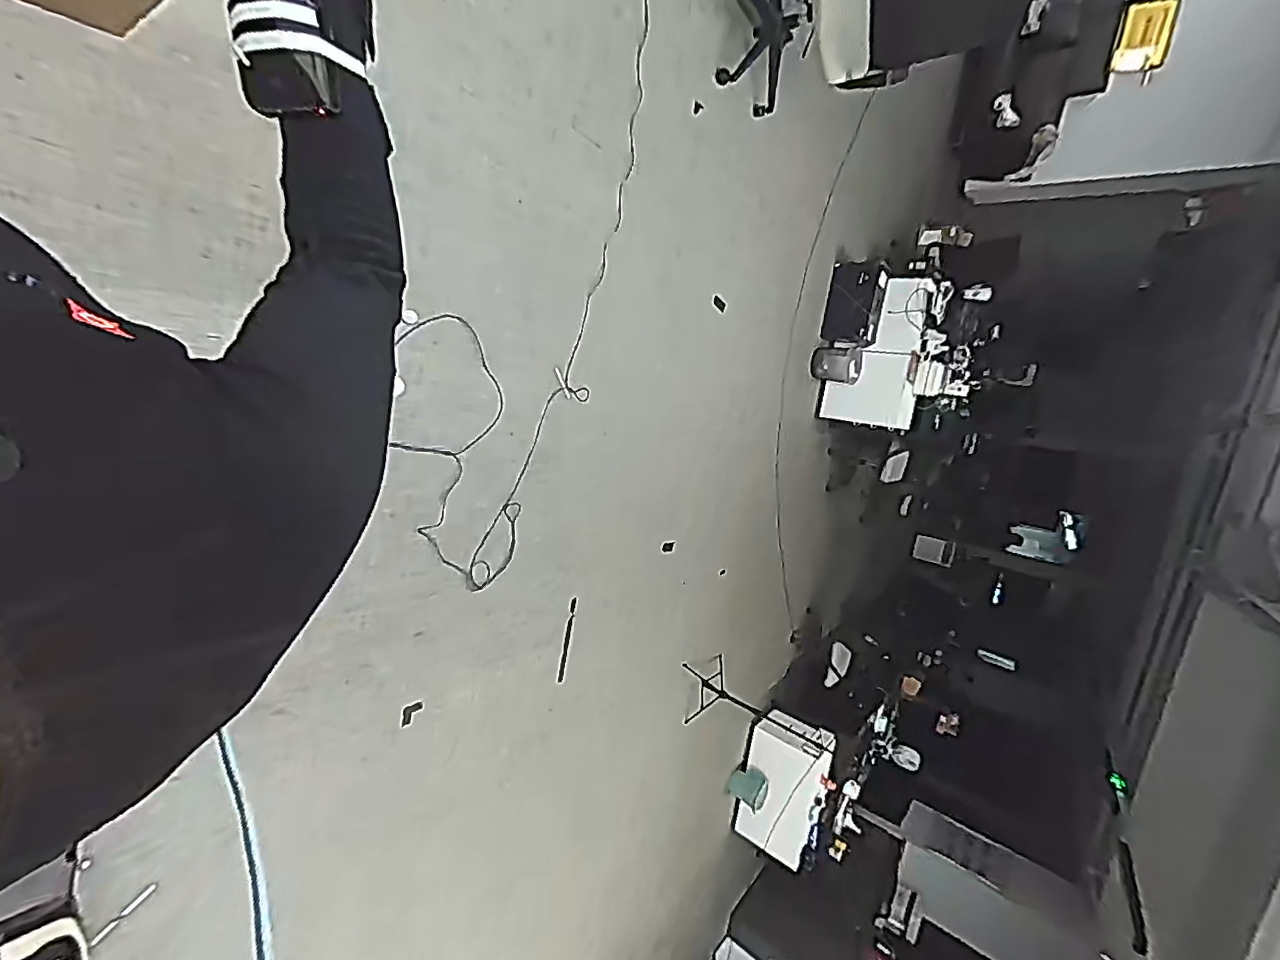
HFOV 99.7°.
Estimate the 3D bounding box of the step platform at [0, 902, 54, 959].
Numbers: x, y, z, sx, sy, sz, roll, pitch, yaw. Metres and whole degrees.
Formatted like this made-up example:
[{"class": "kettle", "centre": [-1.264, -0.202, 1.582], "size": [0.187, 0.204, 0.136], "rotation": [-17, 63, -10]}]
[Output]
[{"class": "step platform", "centre": [-1.457, 1.070, 0.884], "size": [0.684, 0.204, 0.286], "rotation": [-6, 107, -51]}]
